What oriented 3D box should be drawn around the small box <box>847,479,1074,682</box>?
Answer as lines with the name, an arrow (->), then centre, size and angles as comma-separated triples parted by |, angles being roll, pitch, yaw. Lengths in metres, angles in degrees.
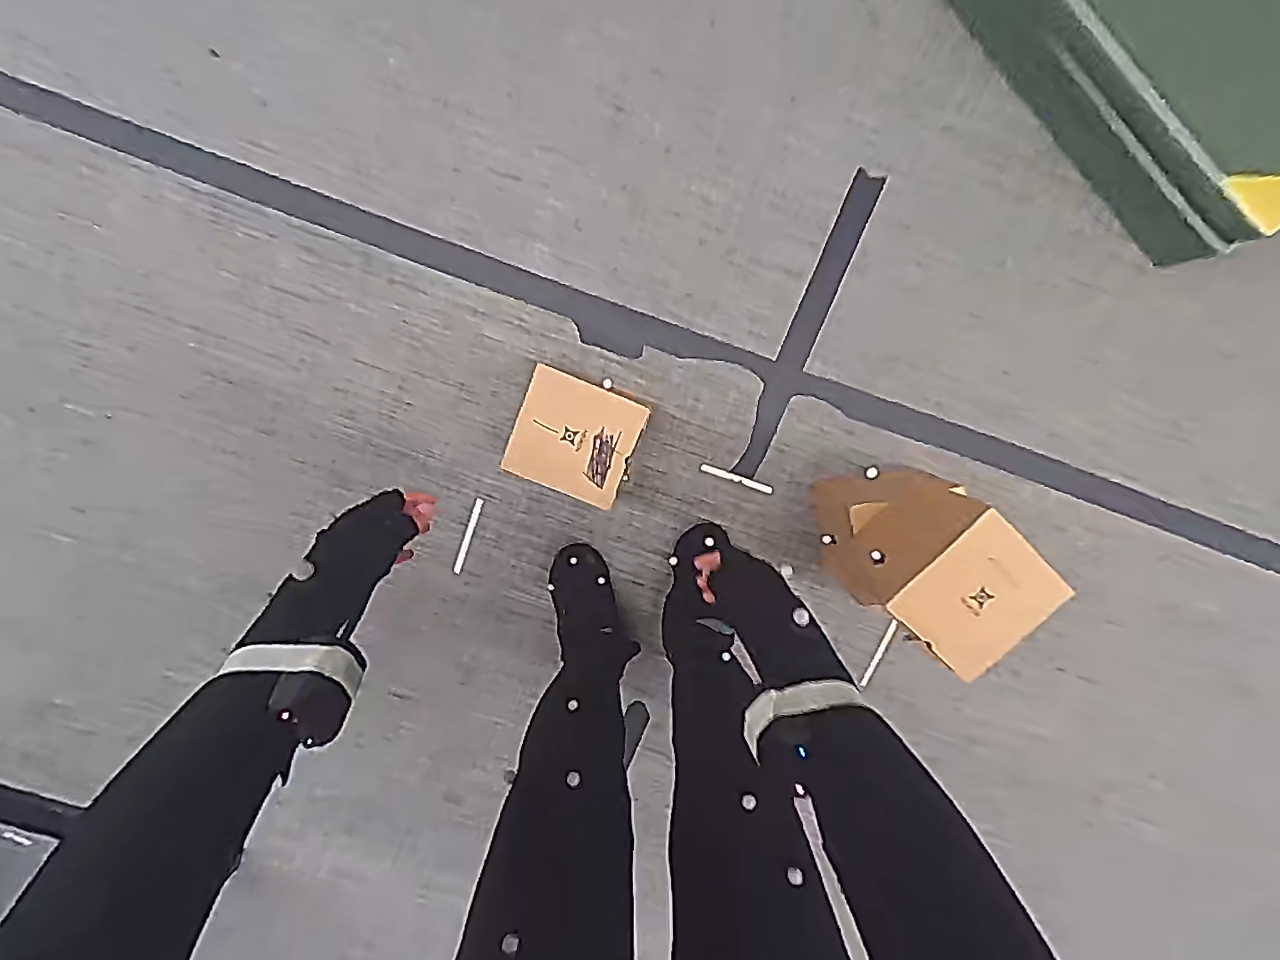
small box -> 0.409, 0.124, 0.733 | 0.168, 0.176, 0.179 | 42, 99, -10

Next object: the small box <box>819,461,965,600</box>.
small box -> 0.409, 0.075, 0.891 | 0.179, 0.176, 0.168 | -13, 102, 2

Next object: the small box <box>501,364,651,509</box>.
small box -> -0.093, -0.077, 0.857 | 0.179, 0.176, 0.168 | 22, 101, -3
